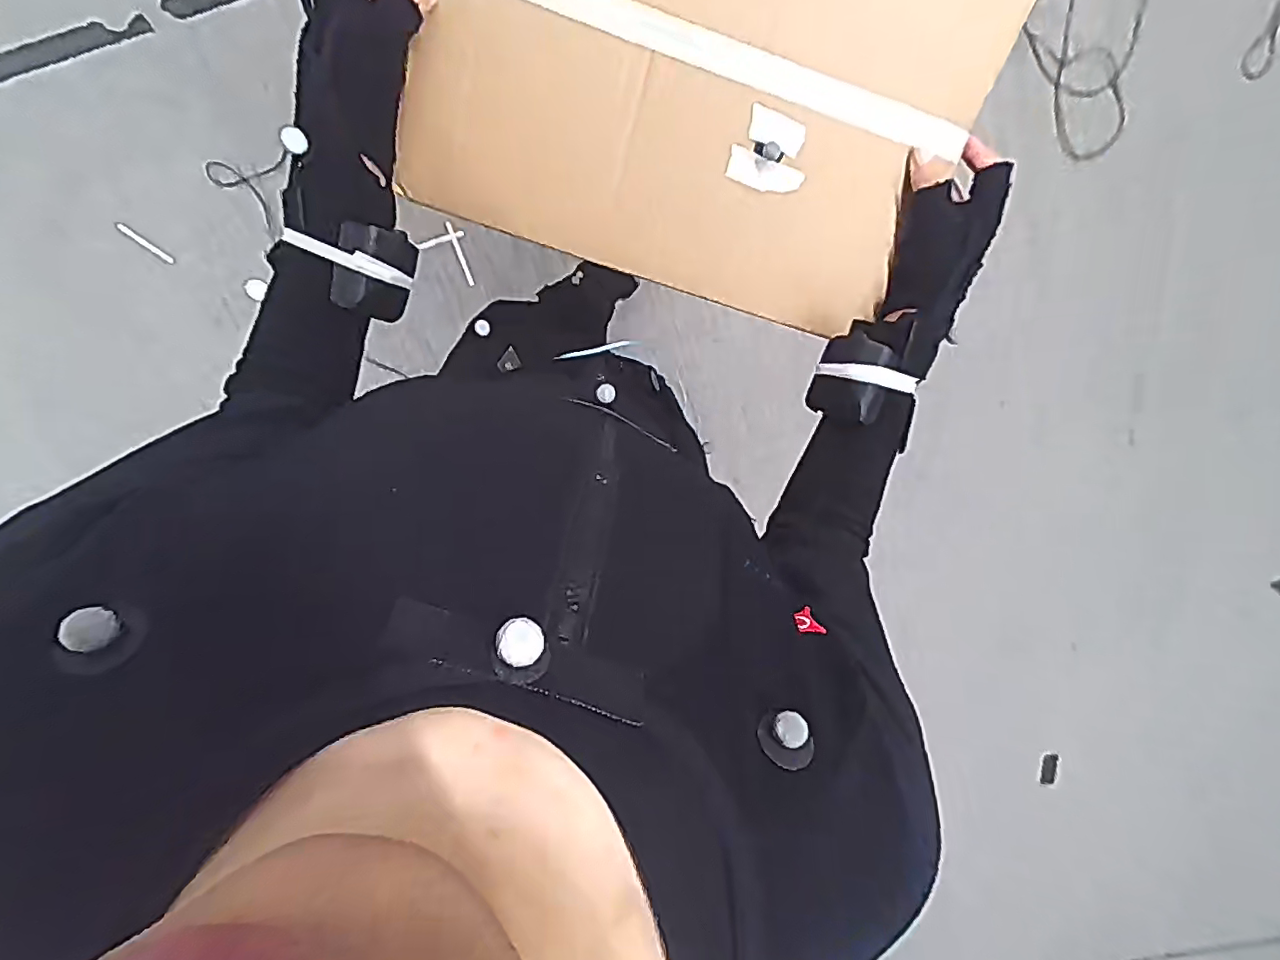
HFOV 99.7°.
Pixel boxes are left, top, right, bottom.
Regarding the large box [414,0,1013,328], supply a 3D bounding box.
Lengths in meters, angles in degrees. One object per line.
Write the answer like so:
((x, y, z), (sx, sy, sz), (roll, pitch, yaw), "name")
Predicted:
((0.046, -0.381, 0.527), (0.408, 0.320, 0.320), (15, 117, -8), "large box")
